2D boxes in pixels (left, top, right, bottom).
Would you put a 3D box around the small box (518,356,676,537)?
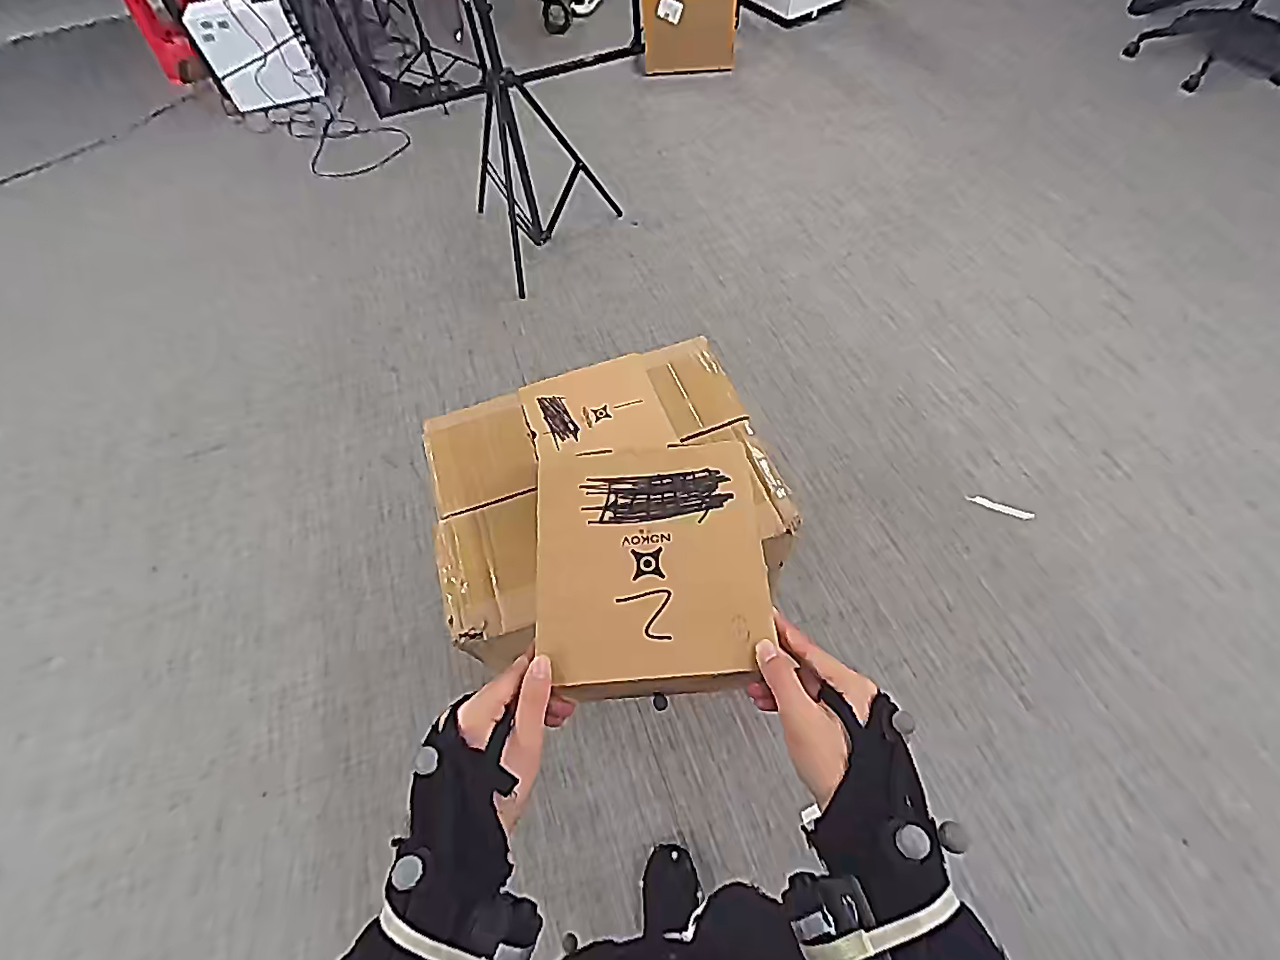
[{"bbox_3d":[-0.054,-0.041,0.771,0.179,0.176,0.168,-18,60,-7],"label":"small box"}]
